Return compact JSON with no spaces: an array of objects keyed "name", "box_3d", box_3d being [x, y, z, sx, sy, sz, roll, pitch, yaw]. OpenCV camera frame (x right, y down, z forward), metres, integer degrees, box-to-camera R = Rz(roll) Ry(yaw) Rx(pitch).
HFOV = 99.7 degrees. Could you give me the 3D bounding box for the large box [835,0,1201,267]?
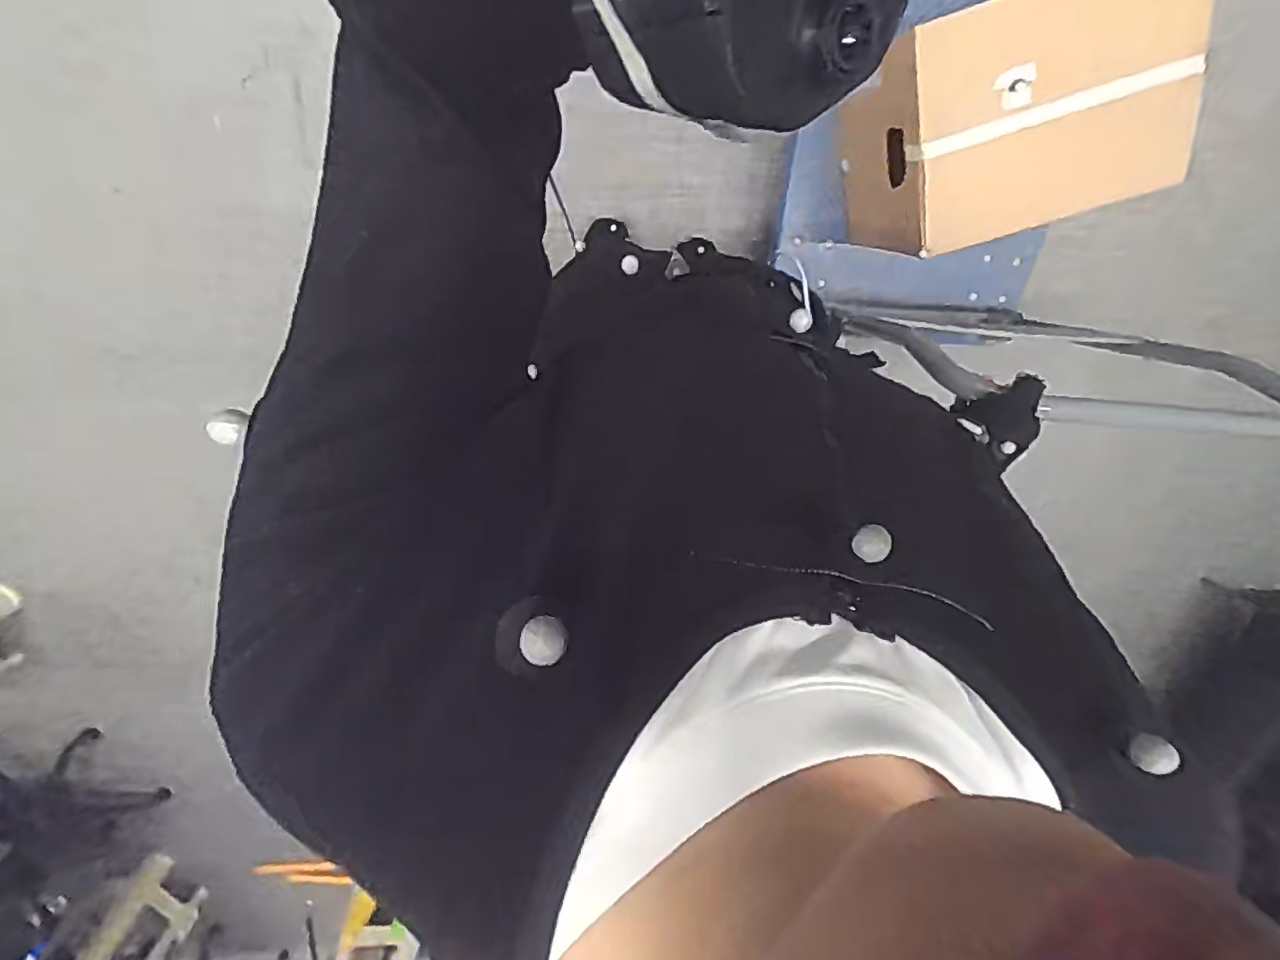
[{"name":"large box","box_3d":[0.599,-0.601,0.934,0.408,0.320,0.320,-14,116,6]}]
